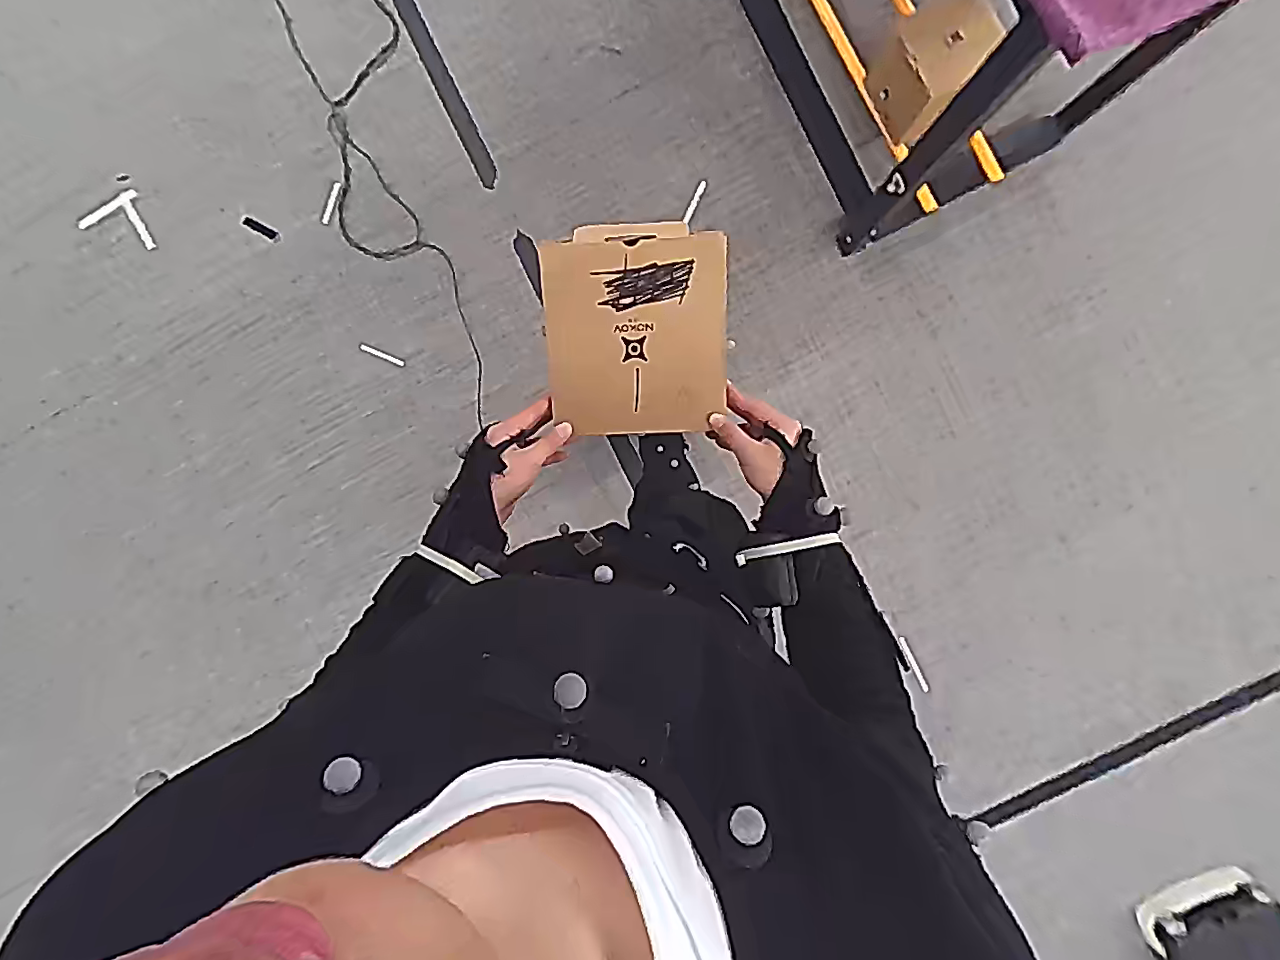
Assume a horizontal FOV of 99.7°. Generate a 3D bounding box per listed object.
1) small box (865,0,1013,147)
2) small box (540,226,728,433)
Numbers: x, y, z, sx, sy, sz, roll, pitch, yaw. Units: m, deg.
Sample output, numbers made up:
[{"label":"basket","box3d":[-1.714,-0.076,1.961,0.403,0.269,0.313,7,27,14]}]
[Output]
[{"label":"small box","box3d":[0.600,-0.837,1.109,0.179,0.176,0.168,-28,90,4]},{"label":"small box","box3d":[-0.001,-0.147,0.560,0.168,0.176,0.179,-2,103,4]}]
